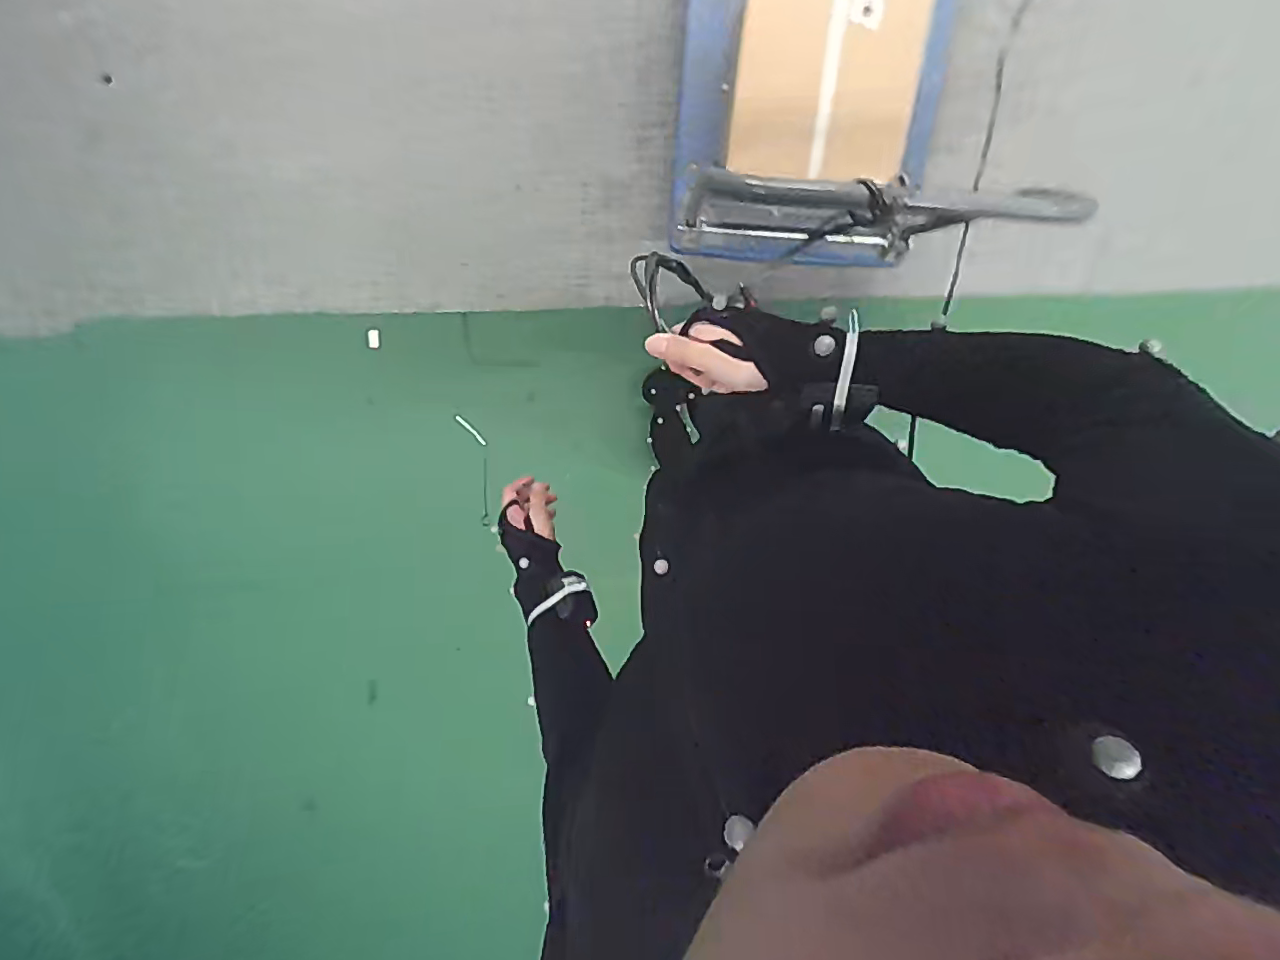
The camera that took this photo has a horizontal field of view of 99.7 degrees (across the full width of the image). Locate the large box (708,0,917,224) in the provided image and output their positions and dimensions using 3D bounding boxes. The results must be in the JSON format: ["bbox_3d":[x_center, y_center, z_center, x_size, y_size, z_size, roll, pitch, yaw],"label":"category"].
[{"bbox_3d":[0.317,-0.768,1.090,0.320,0.320,0.408,6,105,0],"label":"large box"}]
